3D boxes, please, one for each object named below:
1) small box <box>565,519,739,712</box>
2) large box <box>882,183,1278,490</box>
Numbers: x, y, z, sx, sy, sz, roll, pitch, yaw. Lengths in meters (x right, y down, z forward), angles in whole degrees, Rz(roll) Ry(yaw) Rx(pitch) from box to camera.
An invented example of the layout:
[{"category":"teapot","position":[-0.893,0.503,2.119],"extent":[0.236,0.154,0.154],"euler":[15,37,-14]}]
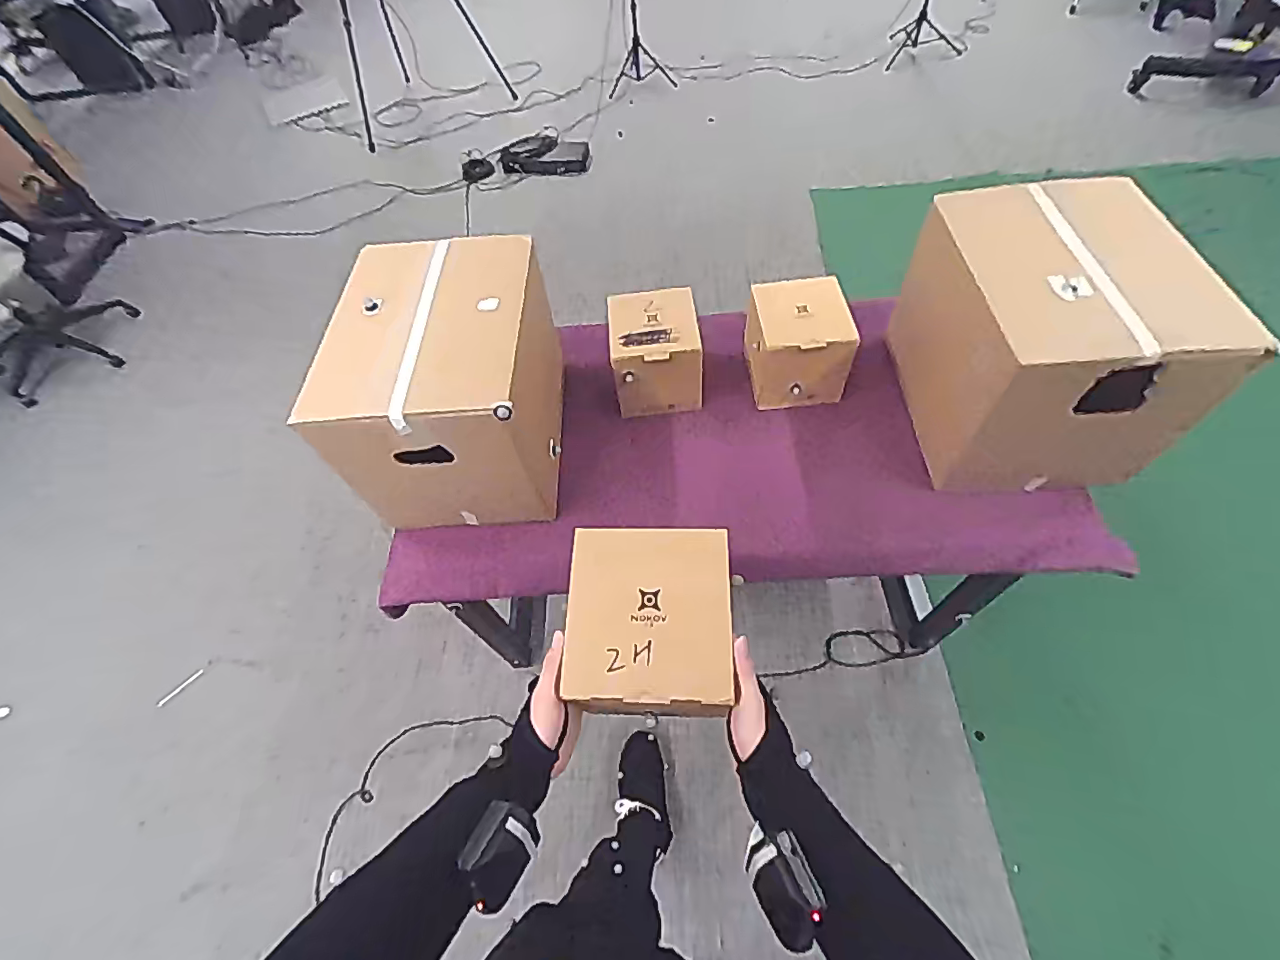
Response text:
[{"category":"small box","position":[0.019,0.157,0.610],"extent":[0.168,0.176,0.179],"euler":[-1,62,5]},{"category":"large box","position":[0.654,-0.234,0.913],"extent":[0.320,0.320,0.408],"euler":[-3,57,5]}]
